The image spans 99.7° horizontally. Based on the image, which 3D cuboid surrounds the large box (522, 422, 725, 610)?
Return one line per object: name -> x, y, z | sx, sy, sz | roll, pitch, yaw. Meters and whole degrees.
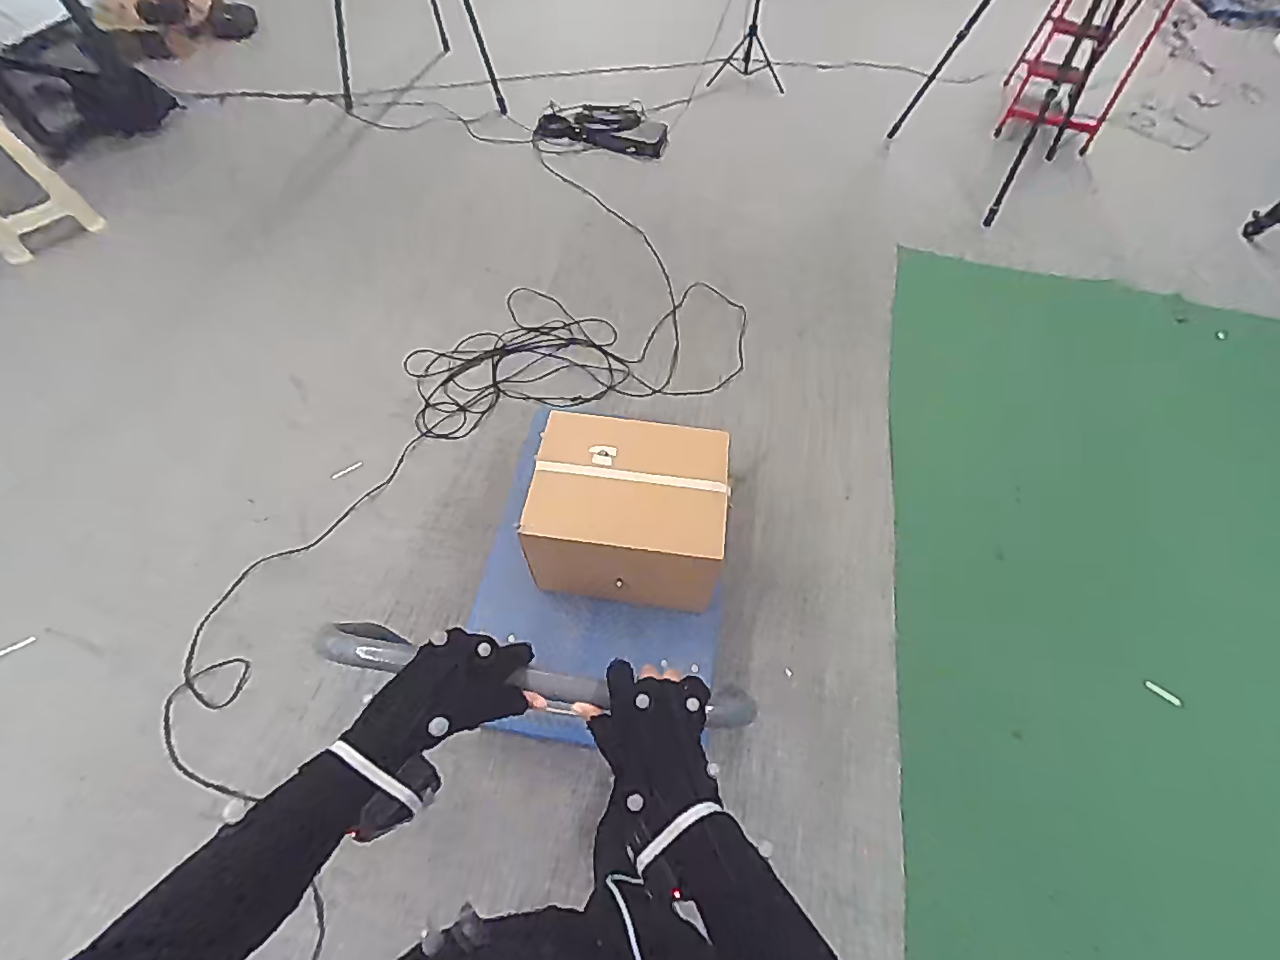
large box -> -0.020, 0.092, 1.263 | 0.408, 0.320, 0.320 | 6, 56, 4
